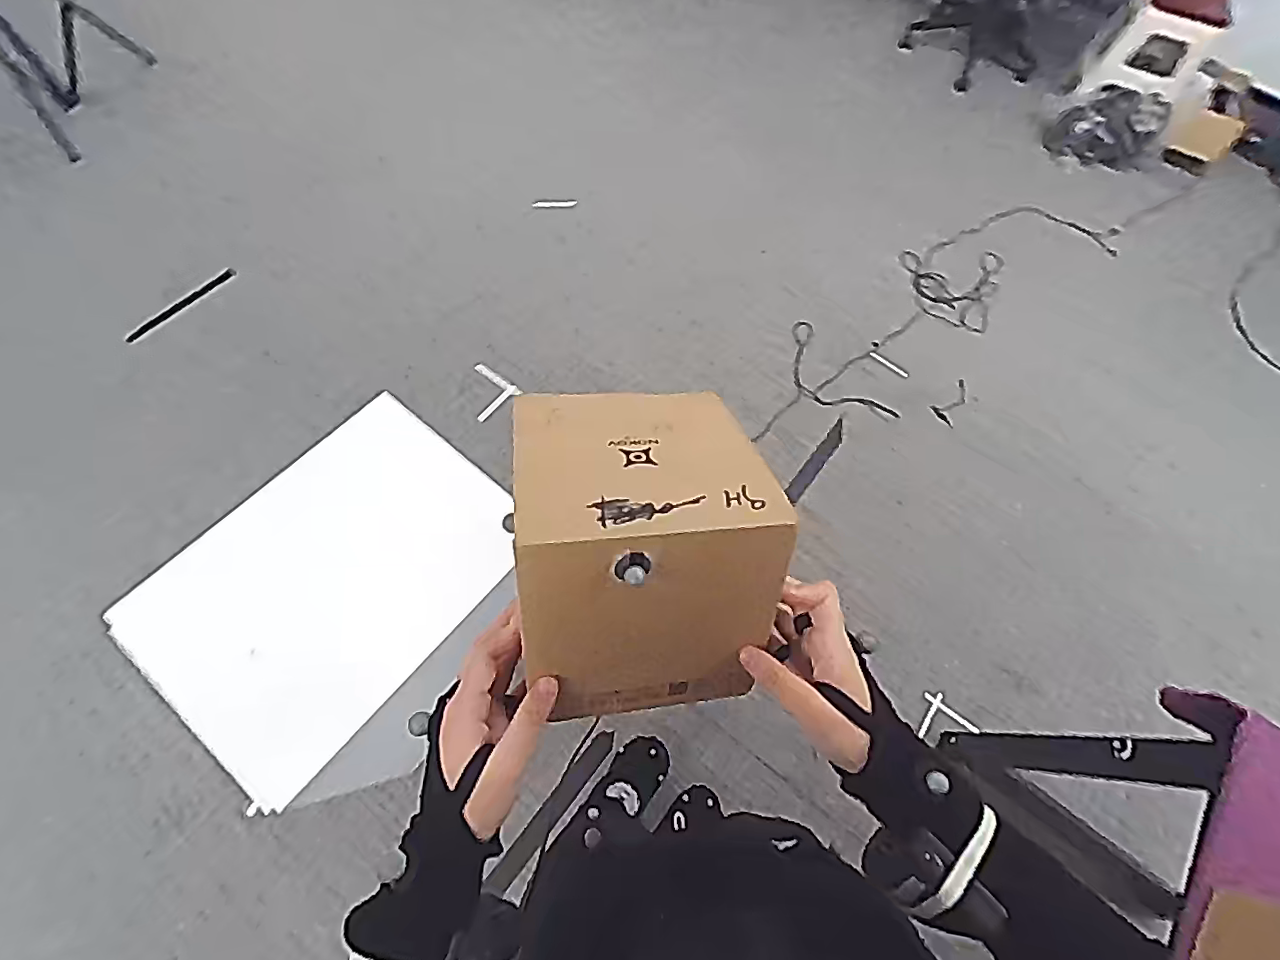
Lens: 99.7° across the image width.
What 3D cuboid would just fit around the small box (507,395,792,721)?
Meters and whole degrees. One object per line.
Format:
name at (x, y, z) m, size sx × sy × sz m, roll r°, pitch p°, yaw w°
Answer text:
small box at (-0.011, 0.048, 0.411) m, size 0.168 × 0.176 × 0.179 m, roll -4°, pitch 34°, yaw -11°
